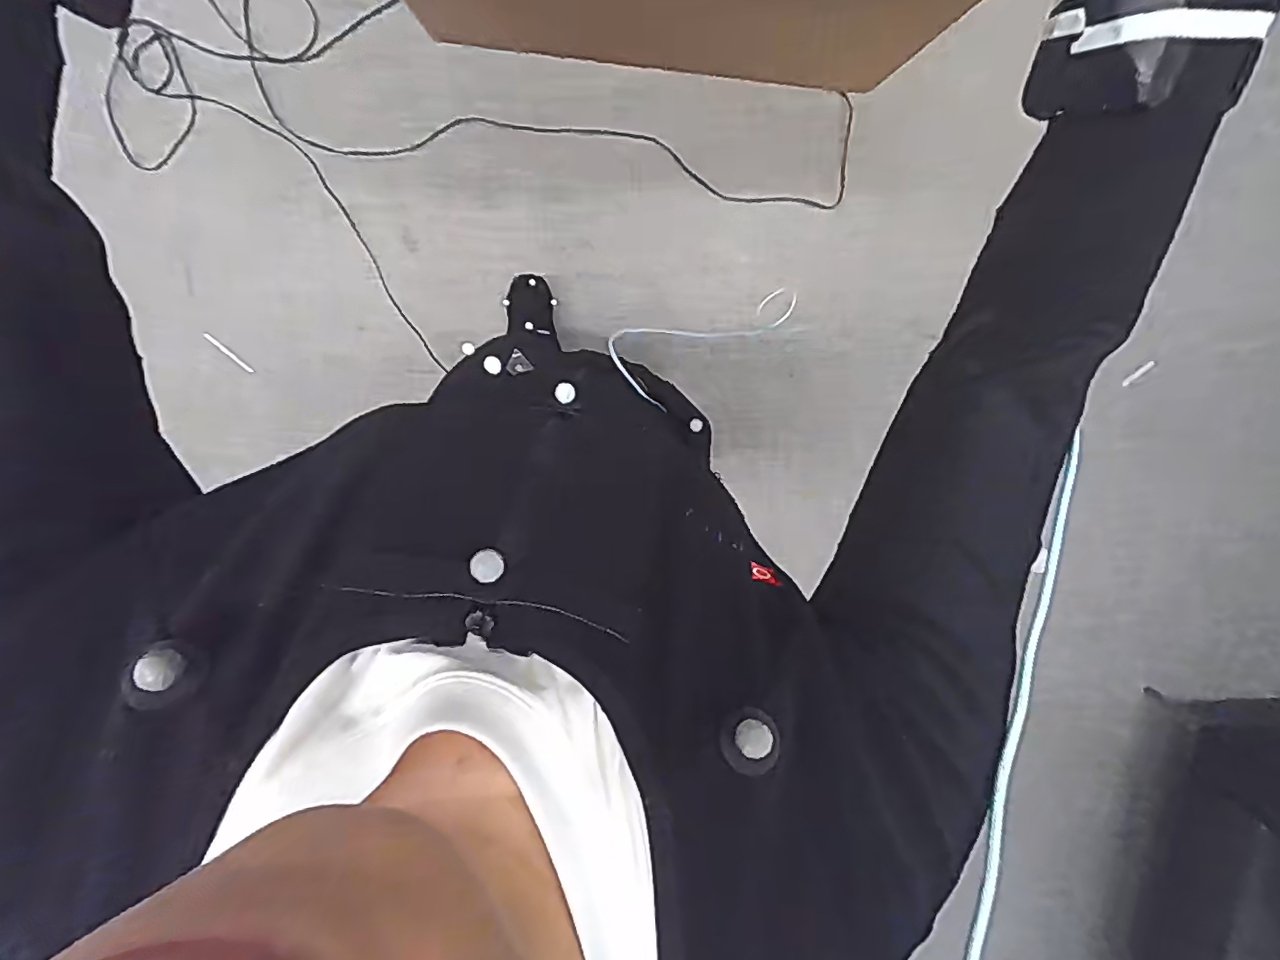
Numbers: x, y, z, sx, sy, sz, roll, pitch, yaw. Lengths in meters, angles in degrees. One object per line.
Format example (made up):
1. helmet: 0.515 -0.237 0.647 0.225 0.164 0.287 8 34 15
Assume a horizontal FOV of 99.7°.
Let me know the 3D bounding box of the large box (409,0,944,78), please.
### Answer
1. large box: 0.026 -0.479 0.306 0.408 0.320 0.320 4 110 -4
